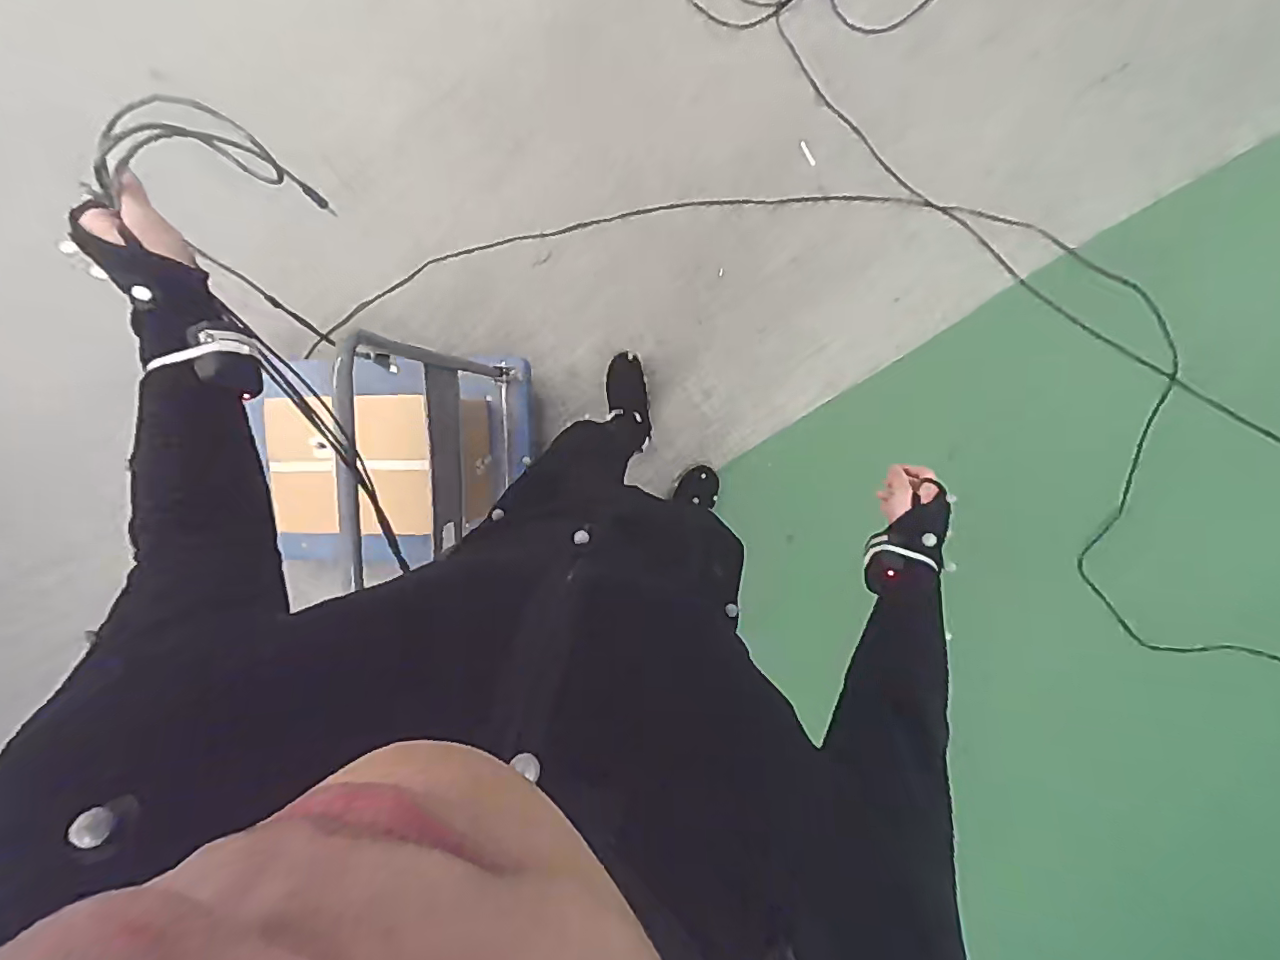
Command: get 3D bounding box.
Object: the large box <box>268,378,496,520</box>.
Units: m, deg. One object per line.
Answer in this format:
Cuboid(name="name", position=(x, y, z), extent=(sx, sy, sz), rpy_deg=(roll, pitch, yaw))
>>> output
Cuboid(name="large box", position=(-0.614, -0.085, 1.351), extent=(0.408, 0.320, 0.320), rpy_deg=(0, 97, 8))
